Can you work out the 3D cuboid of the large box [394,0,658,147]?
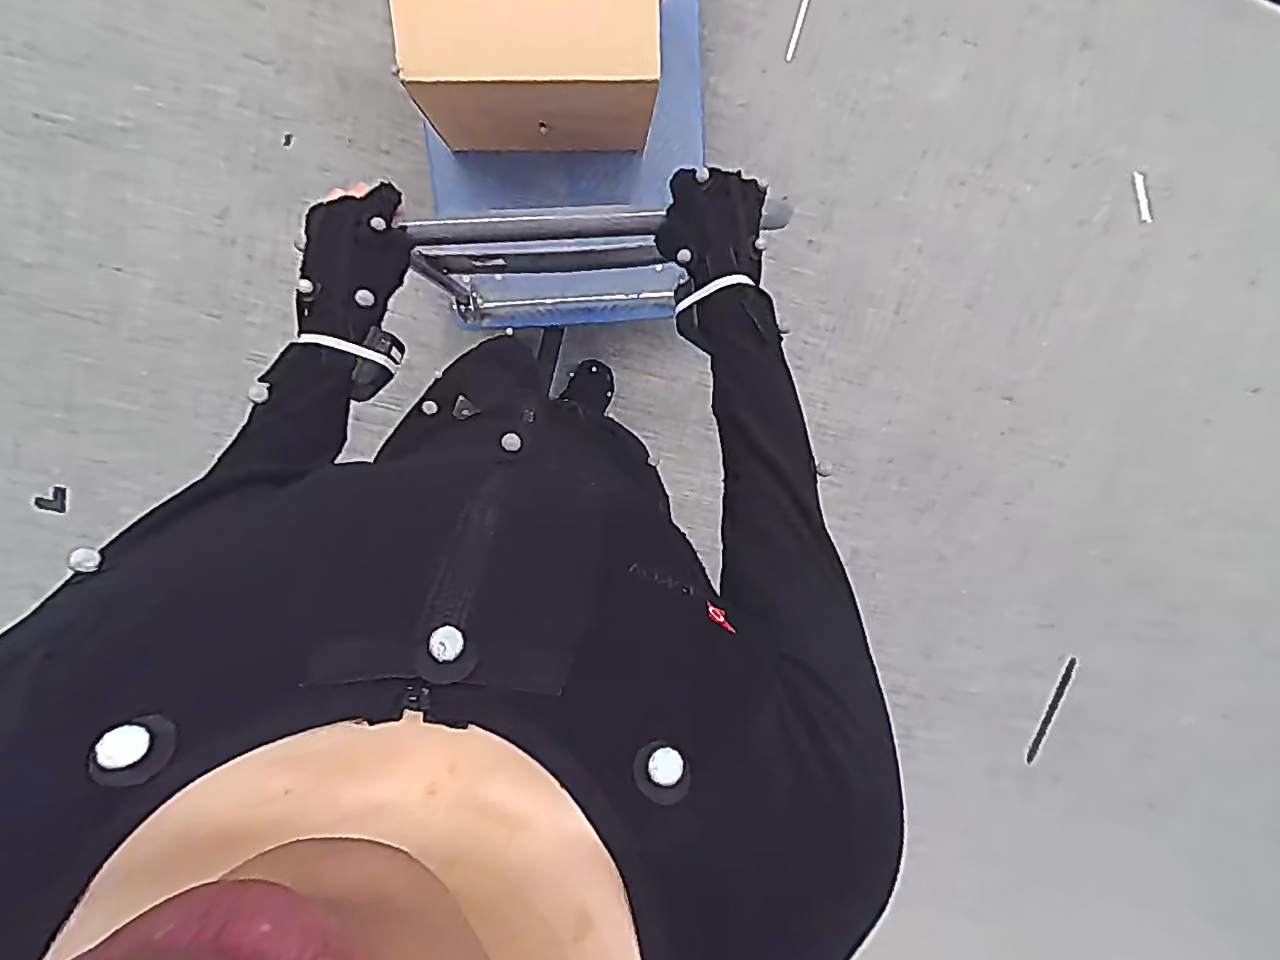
[{"bbox_3d":[-0.183,-0.813,0.955,0.408,0.320,0.320,-3,104,-3],"label":"large box"}]
